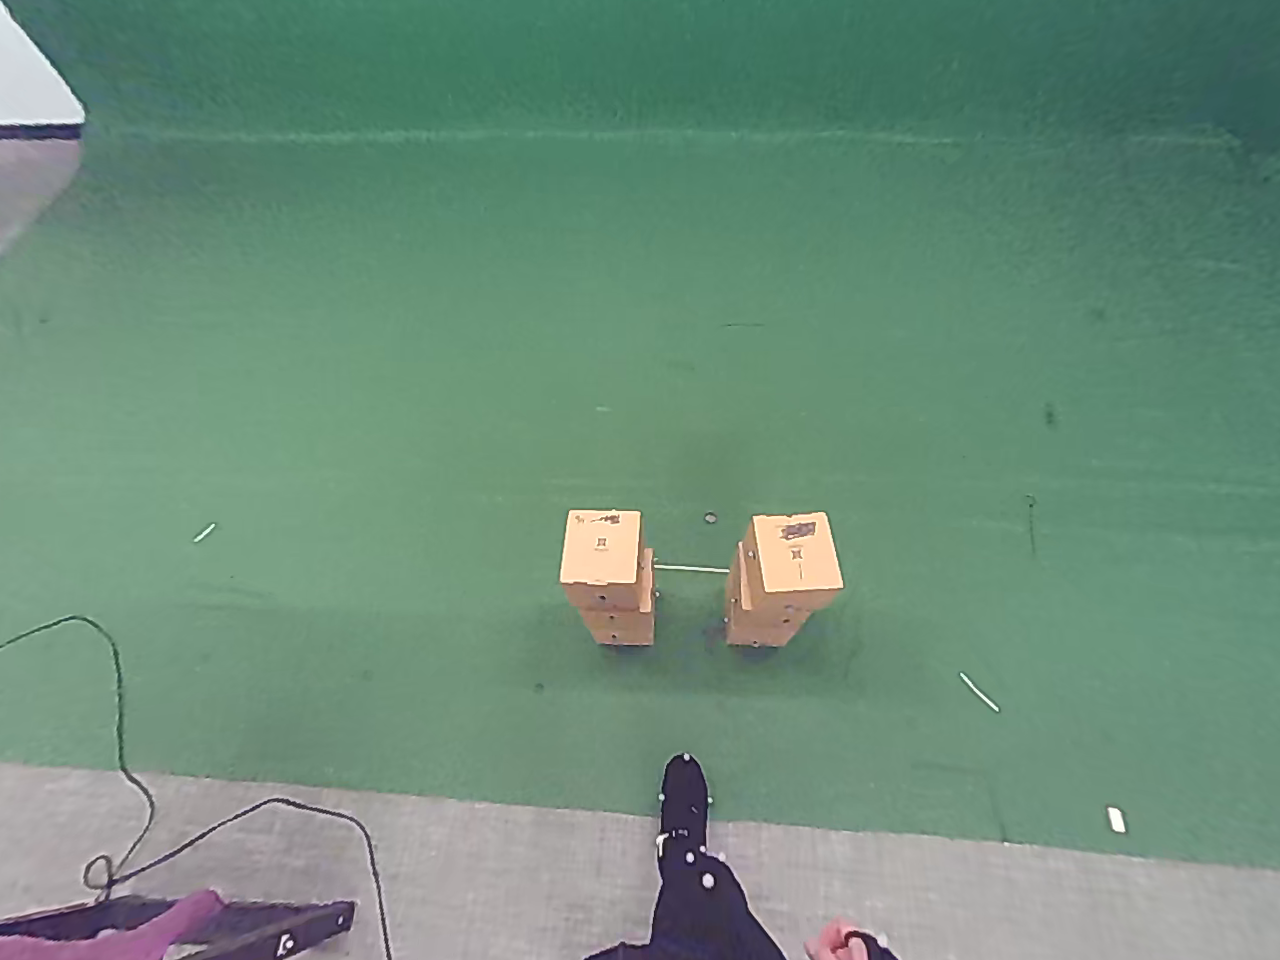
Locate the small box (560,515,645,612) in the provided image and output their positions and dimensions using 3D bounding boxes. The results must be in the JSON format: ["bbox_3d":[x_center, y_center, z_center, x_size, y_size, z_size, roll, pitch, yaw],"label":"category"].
[{"bbox_3d":[-0.077,0.195,1.238,0.168,0.176,0.179,1,60,5],"label":"small box"}]

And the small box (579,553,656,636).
[{"bbox_3d":[-0.050,0.292,1.370,0.179,0.176,0.168,1,59,3],"label":"small box"}]

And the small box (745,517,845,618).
[{"bbox_3d":[0.337,0.199,1.215,0.168,0.176,0.179,-3,62,0],"label":"small box"}]

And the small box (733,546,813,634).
[{"bbox_3d":[0.327,0.280,1.358,0.168,0.176,0.179,2,60,2],"label":"small box"}]

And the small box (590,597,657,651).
[{"bbox_3d":[-0.040,0.372,1.513,0.168,0.176,0.179,1,58,4],"label":"small box"}]
